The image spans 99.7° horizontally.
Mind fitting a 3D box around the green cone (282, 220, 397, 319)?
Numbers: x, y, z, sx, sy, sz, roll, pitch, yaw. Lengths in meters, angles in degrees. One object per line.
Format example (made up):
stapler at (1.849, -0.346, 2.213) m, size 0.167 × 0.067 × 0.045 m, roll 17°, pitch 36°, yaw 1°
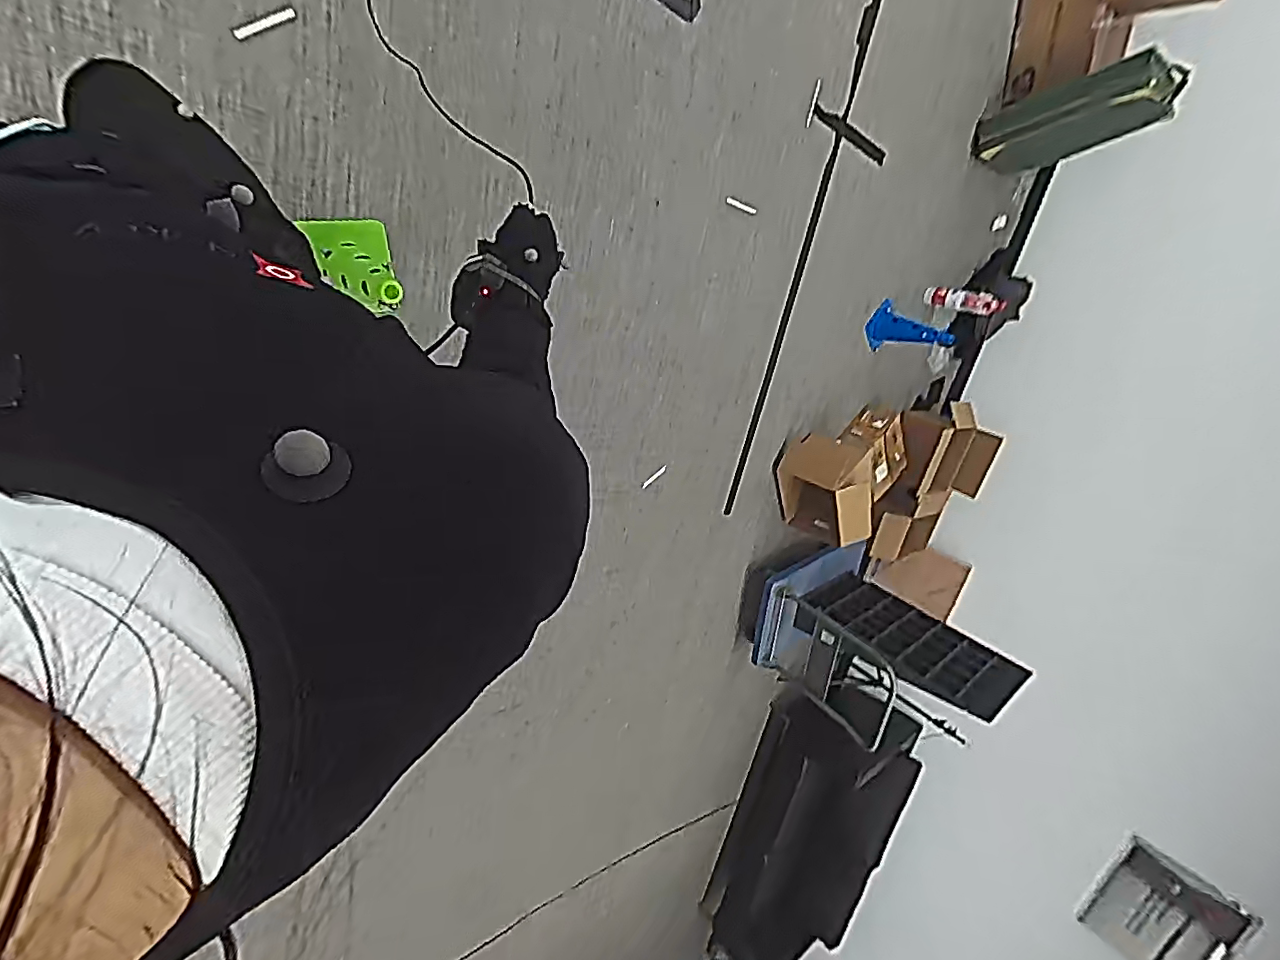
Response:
green cone at (-0.563, -0.407, 1.091) m, size 0.202 × 0.368 × 0.200 m, roll -20°, pitch 124°, yaw -32°
